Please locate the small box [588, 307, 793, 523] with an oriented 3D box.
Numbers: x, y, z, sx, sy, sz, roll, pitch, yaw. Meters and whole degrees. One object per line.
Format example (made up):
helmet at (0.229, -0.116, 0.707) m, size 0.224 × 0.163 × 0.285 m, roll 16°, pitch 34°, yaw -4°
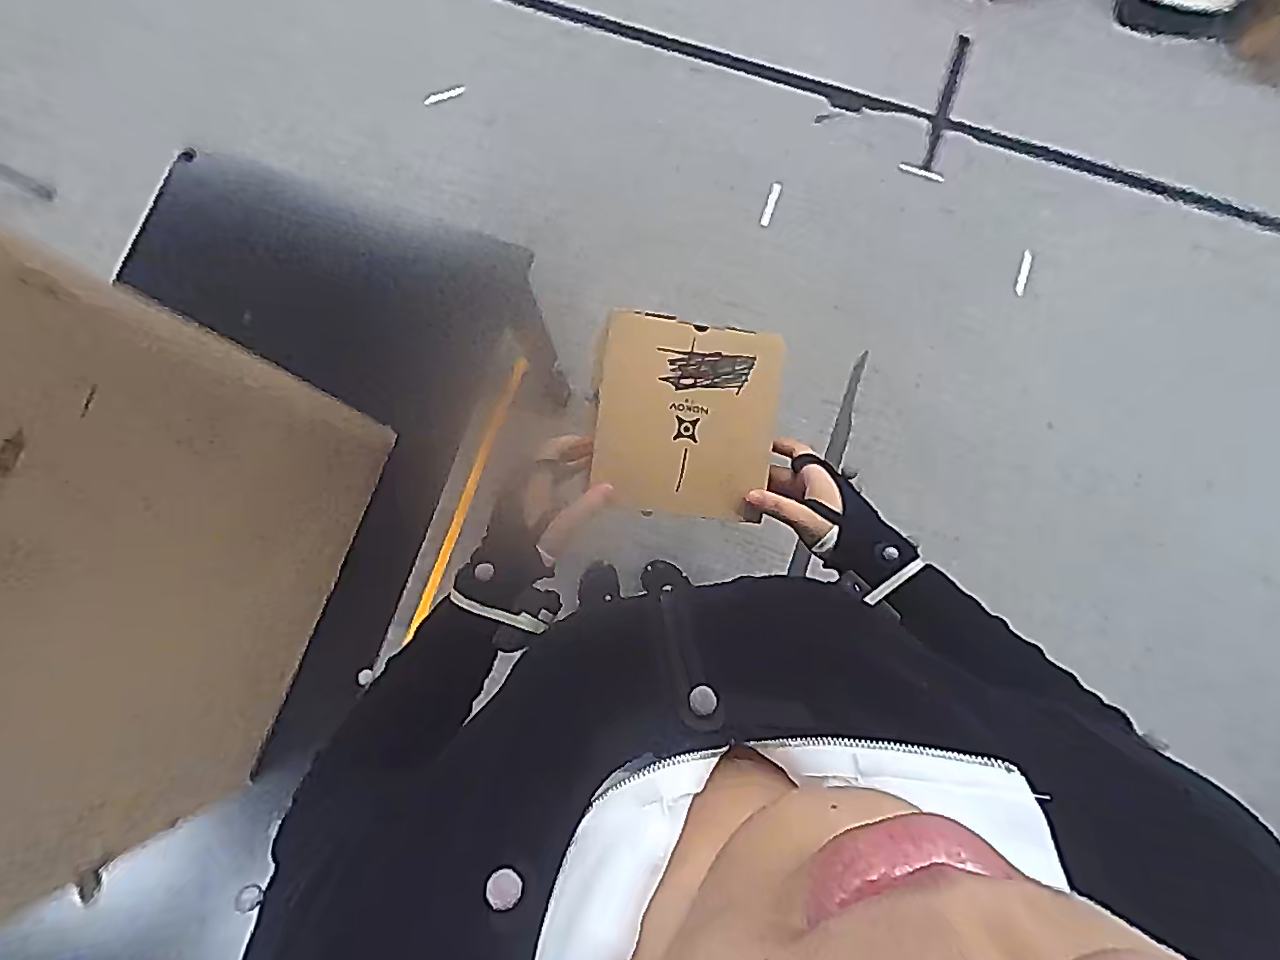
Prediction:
small box at (0.038, -0.061, 0.561) m, size 0.168 × 0.176 × 0.179 m, roll 7°, pitch 94°, yaw -8°
